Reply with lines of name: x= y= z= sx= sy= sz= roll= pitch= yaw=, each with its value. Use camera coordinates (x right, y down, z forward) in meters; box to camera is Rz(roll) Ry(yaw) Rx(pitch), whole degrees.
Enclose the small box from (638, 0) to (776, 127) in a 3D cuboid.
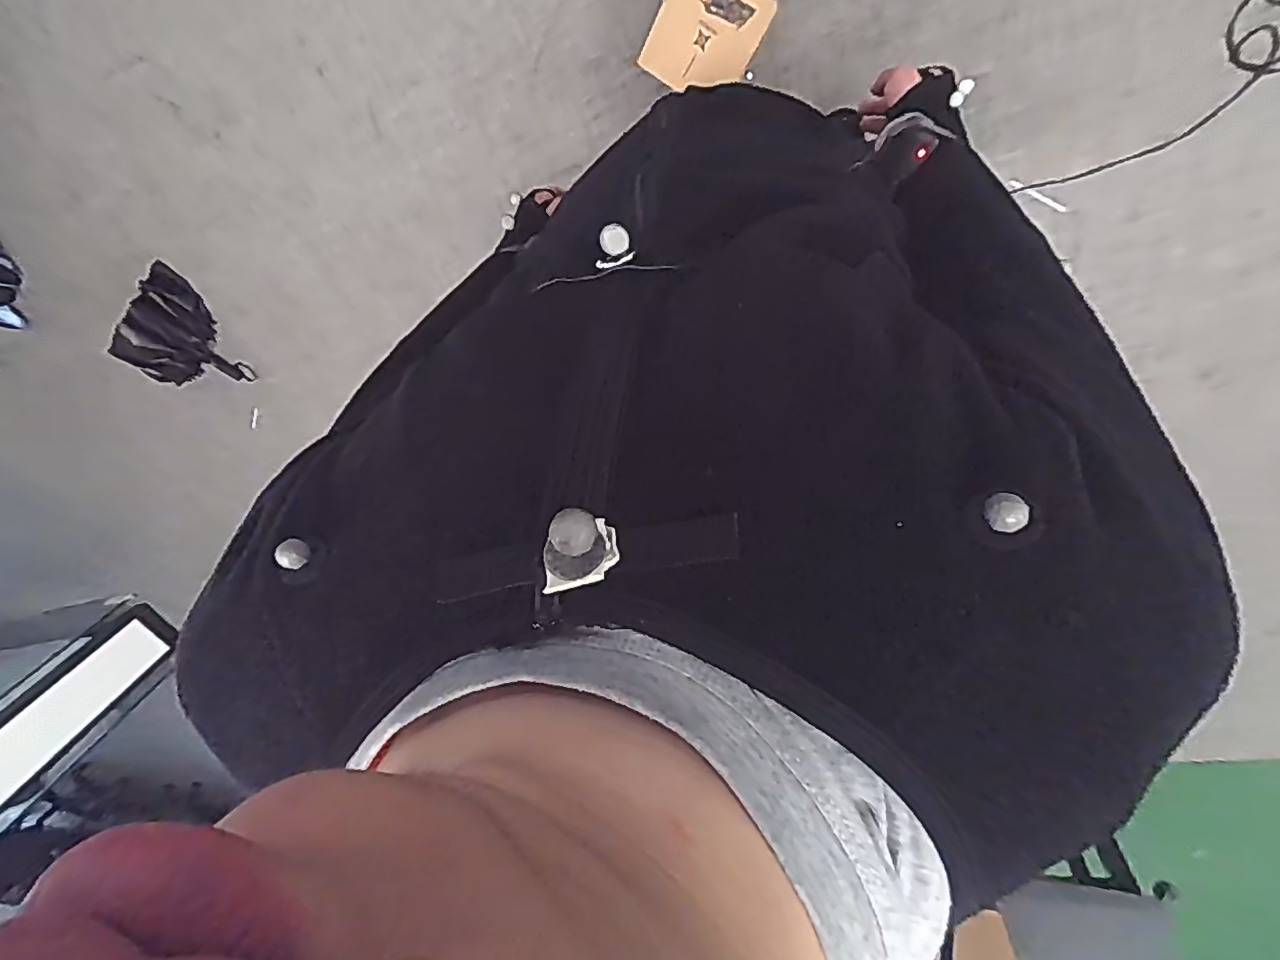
small box: x=0.118 y=-0.761 z=0.951 sx=0.168 sy=0.176 sz=0.179 roll=30 pitch=126 yaw=-9
